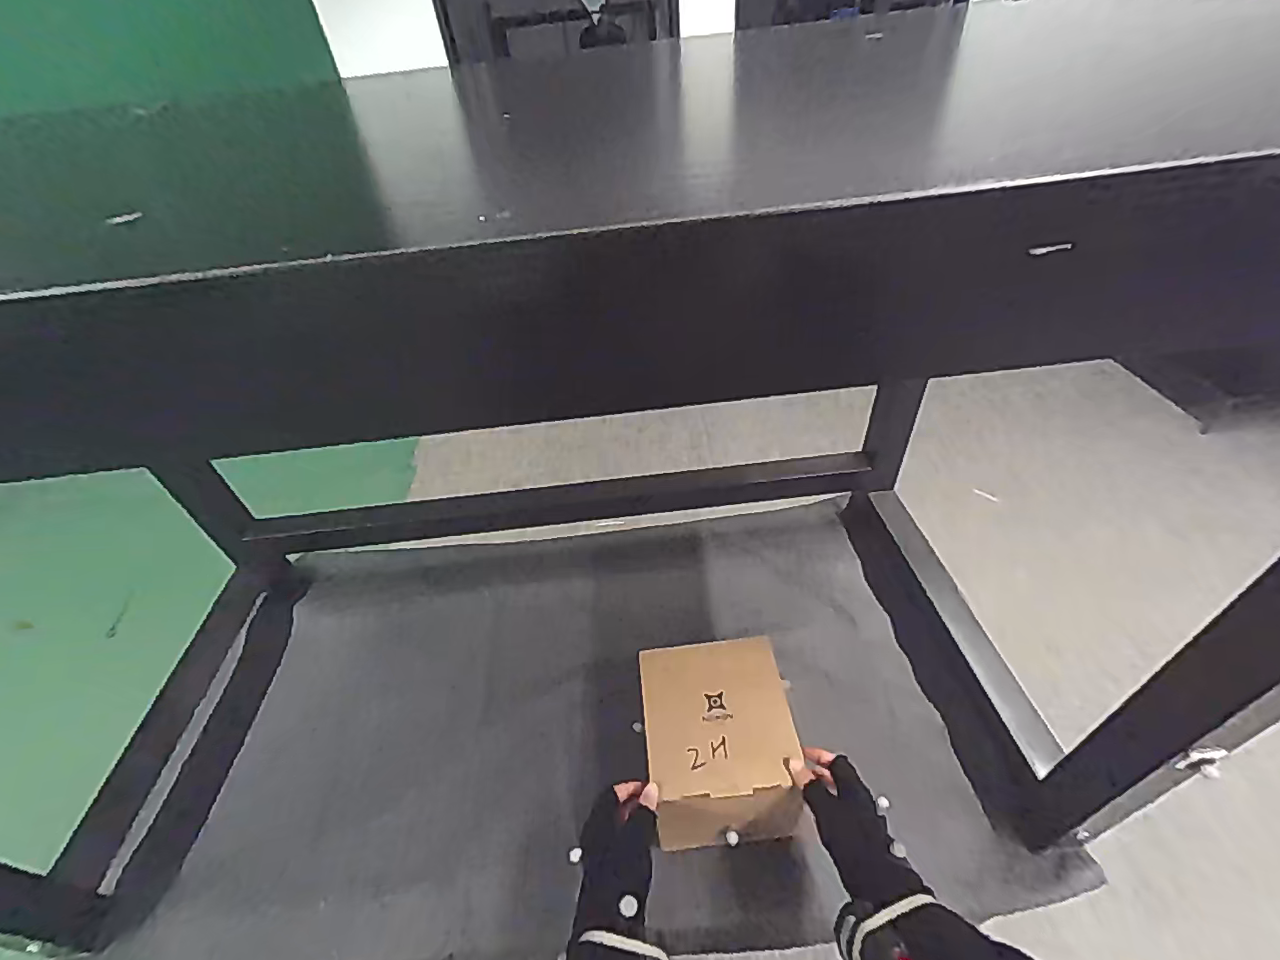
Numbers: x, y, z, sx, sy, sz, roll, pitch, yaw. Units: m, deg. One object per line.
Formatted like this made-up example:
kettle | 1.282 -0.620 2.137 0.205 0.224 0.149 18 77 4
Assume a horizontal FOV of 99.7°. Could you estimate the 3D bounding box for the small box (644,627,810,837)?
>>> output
small box | 0.096 0.310 0.669 0.168 0.176 0.179 -7 41 1
